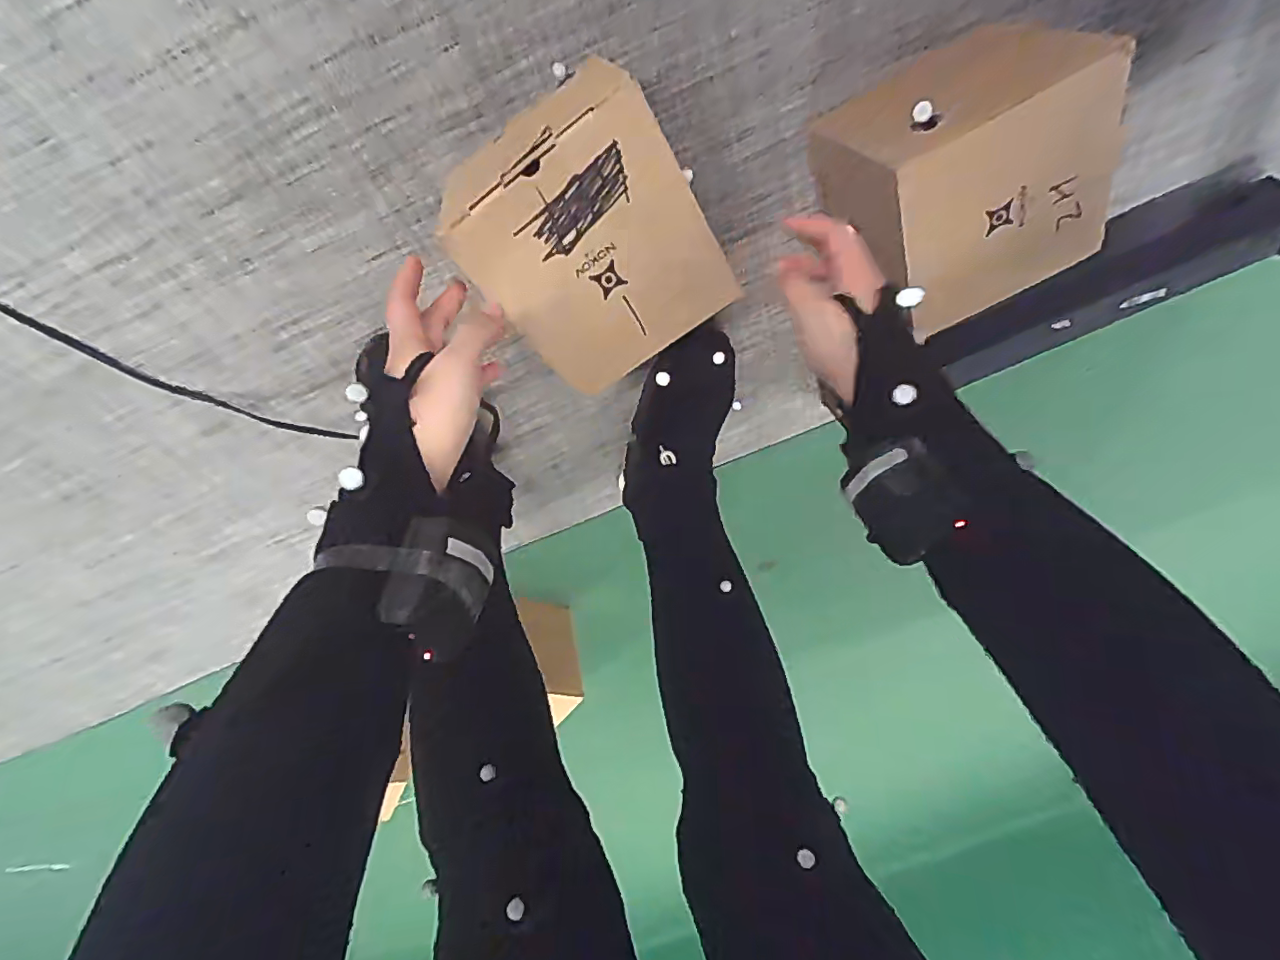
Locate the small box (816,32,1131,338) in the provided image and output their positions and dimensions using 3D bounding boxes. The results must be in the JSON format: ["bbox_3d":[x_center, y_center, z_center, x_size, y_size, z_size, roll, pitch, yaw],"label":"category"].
[{"bbox_3d":[0.280,-0.269,0.496,0.179,0.176,0.168,-27,133,9],"label":"small box"}]

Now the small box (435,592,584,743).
[{"bbox_3d":[-0.213,0.306,0.882,0.179,0.176,0.168,21,123,-29],"label":"small box"}]
